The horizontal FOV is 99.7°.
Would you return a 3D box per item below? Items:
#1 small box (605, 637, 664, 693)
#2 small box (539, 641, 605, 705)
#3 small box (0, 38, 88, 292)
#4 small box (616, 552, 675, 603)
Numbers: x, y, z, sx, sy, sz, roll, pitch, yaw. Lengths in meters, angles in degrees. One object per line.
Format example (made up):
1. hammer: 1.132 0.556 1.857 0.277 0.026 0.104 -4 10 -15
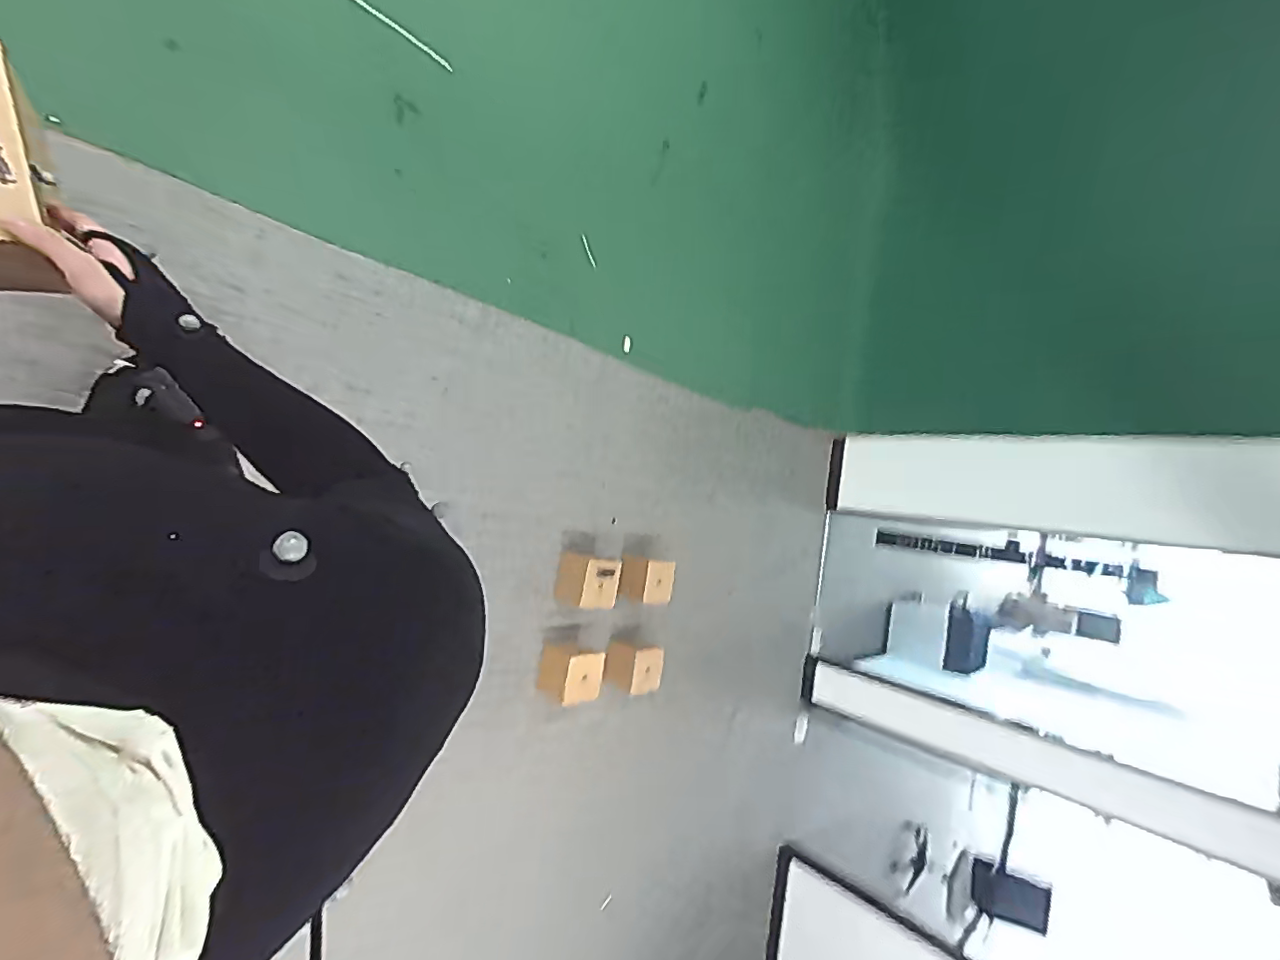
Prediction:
1. small box: -0.026 0.758 2.235 0.168 0.176 0.179 10 87 -44
2. small box: -0.256 0.709 2.012 0.168 0.176 0.179 9 88 -44
3. small box: -0.621 -0.268 0.460 0.179 0.176 0.168 -10 97 -38
4. small box: 0.021 0.404 2.249 0.168 0.176 0.179 11 86 -45
